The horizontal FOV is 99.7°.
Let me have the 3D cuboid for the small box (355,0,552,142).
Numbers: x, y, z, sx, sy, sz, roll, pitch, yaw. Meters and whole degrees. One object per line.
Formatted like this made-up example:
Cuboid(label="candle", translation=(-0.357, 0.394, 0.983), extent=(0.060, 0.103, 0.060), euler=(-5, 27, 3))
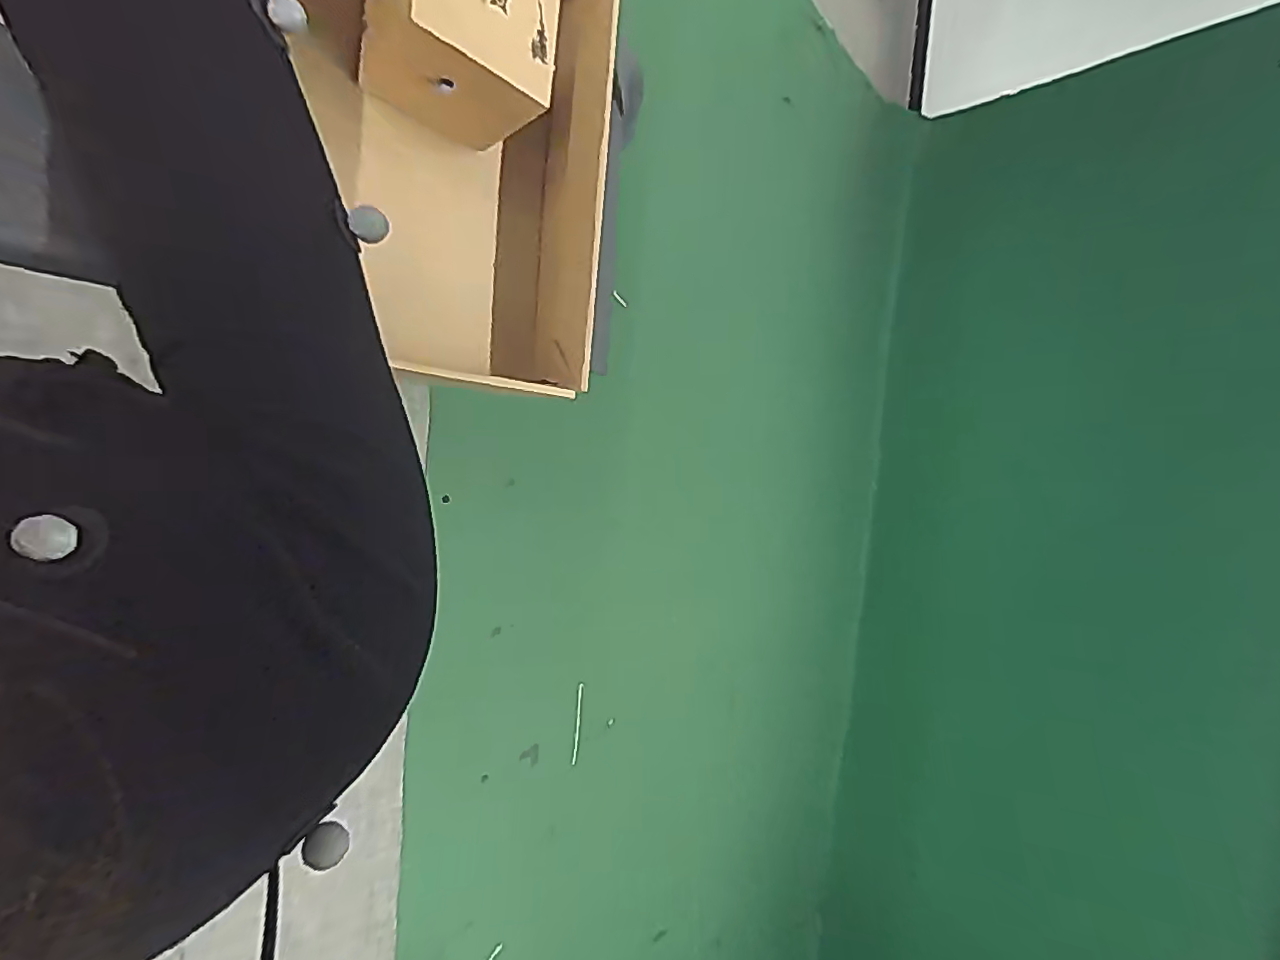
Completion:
Cuboid(label="small box", translation=(-0.230, -0.552, 0.661), extent=(0.179, 0.176, 0.168), euler=(4, 95, -44))
